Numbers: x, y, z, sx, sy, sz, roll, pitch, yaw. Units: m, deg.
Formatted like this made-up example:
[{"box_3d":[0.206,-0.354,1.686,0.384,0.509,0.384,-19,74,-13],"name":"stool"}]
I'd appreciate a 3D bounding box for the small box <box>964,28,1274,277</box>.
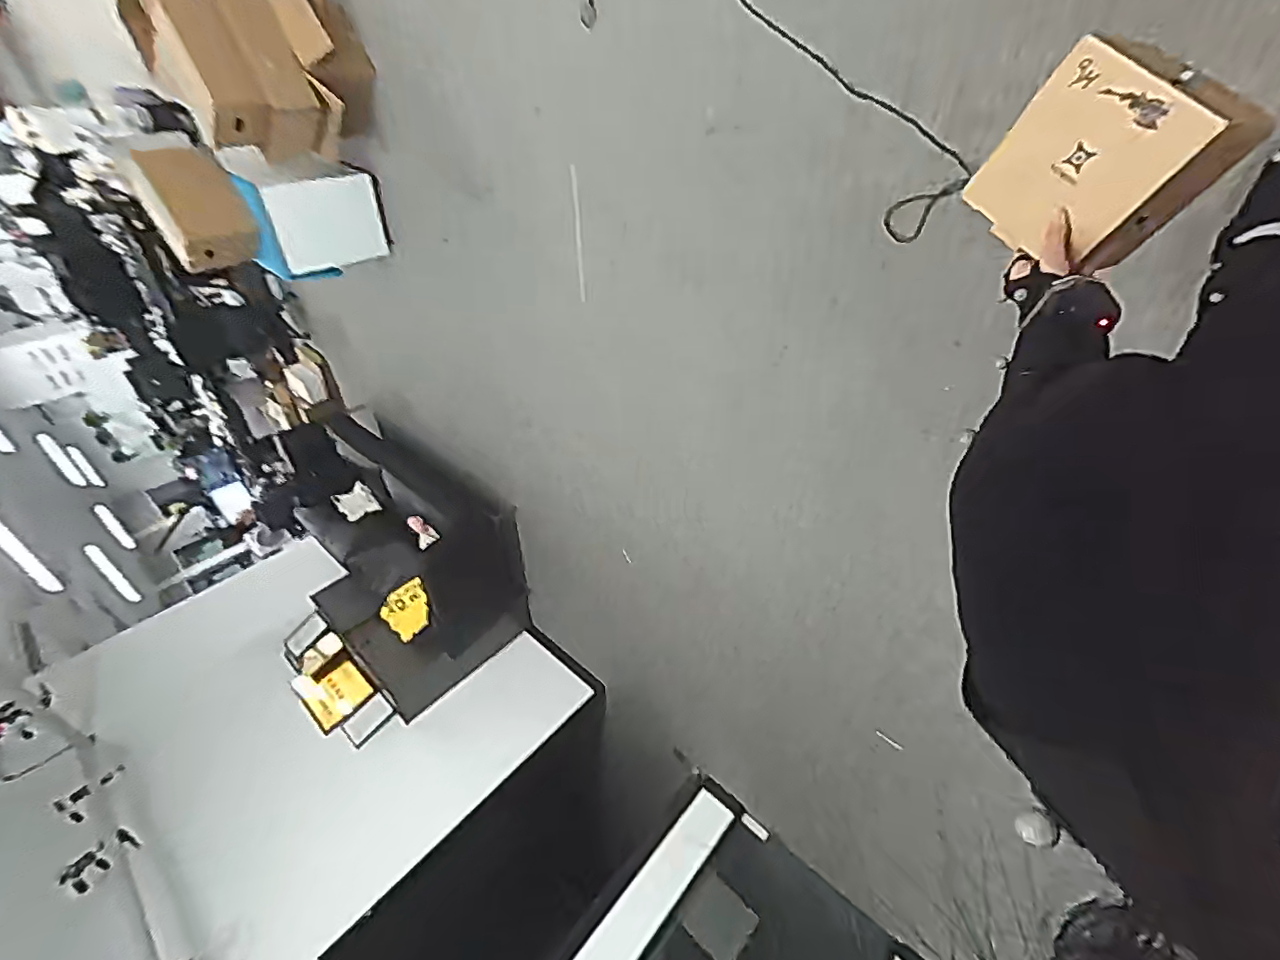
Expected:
[{"box_3d":[0.529,-0.362,0.612,0.168,0.176,0.179,59,150,20],"name":"small box"}]
